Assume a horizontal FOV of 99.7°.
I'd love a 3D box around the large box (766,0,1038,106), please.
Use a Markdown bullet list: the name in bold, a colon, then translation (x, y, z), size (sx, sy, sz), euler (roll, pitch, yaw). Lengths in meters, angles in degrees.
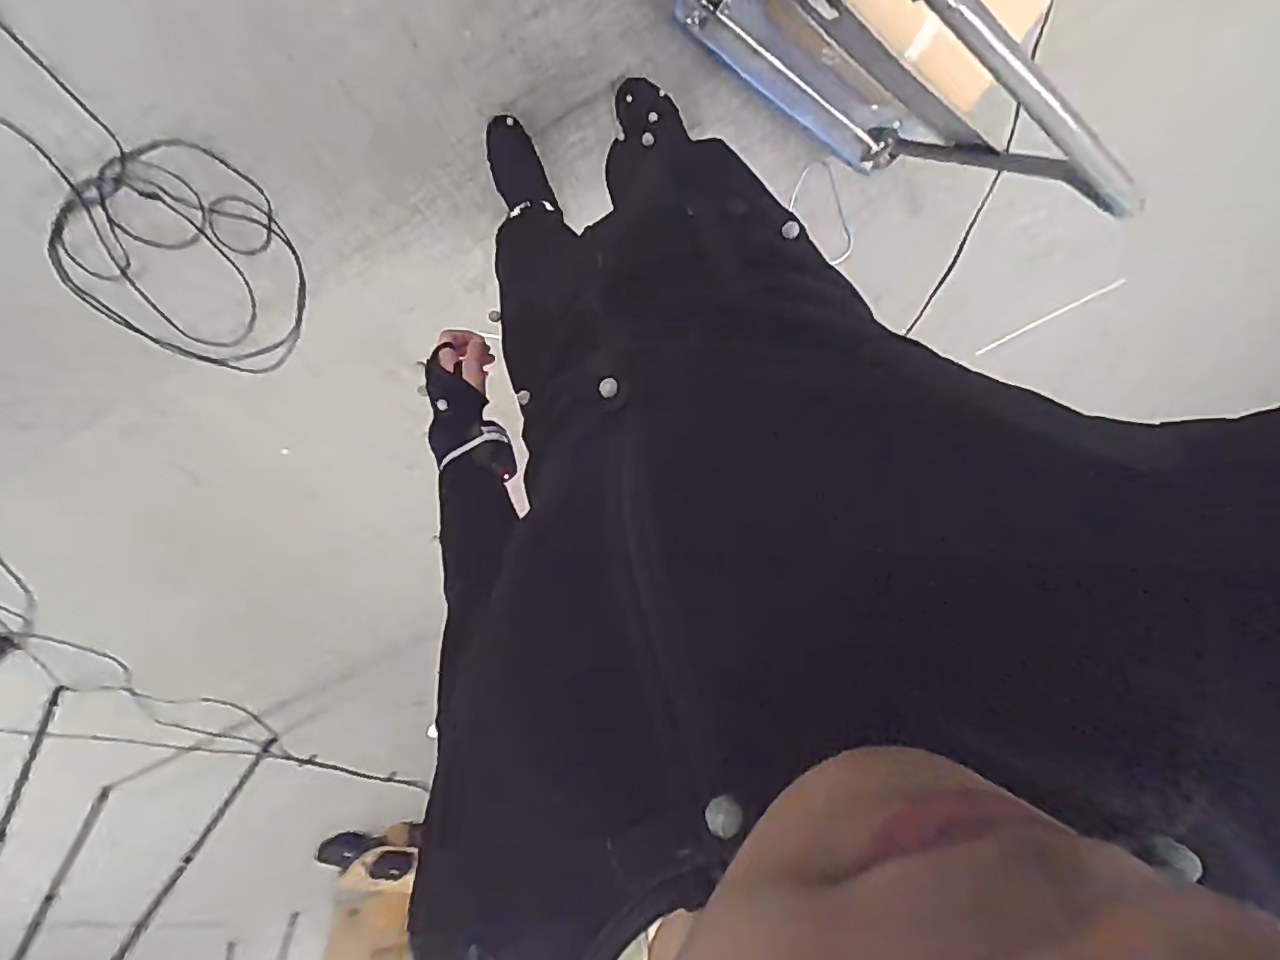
- **large box**: translation (0.474, -0.898, 0.862), size (0.320, 0.320, 0.408), euler (20, 121, -25)
